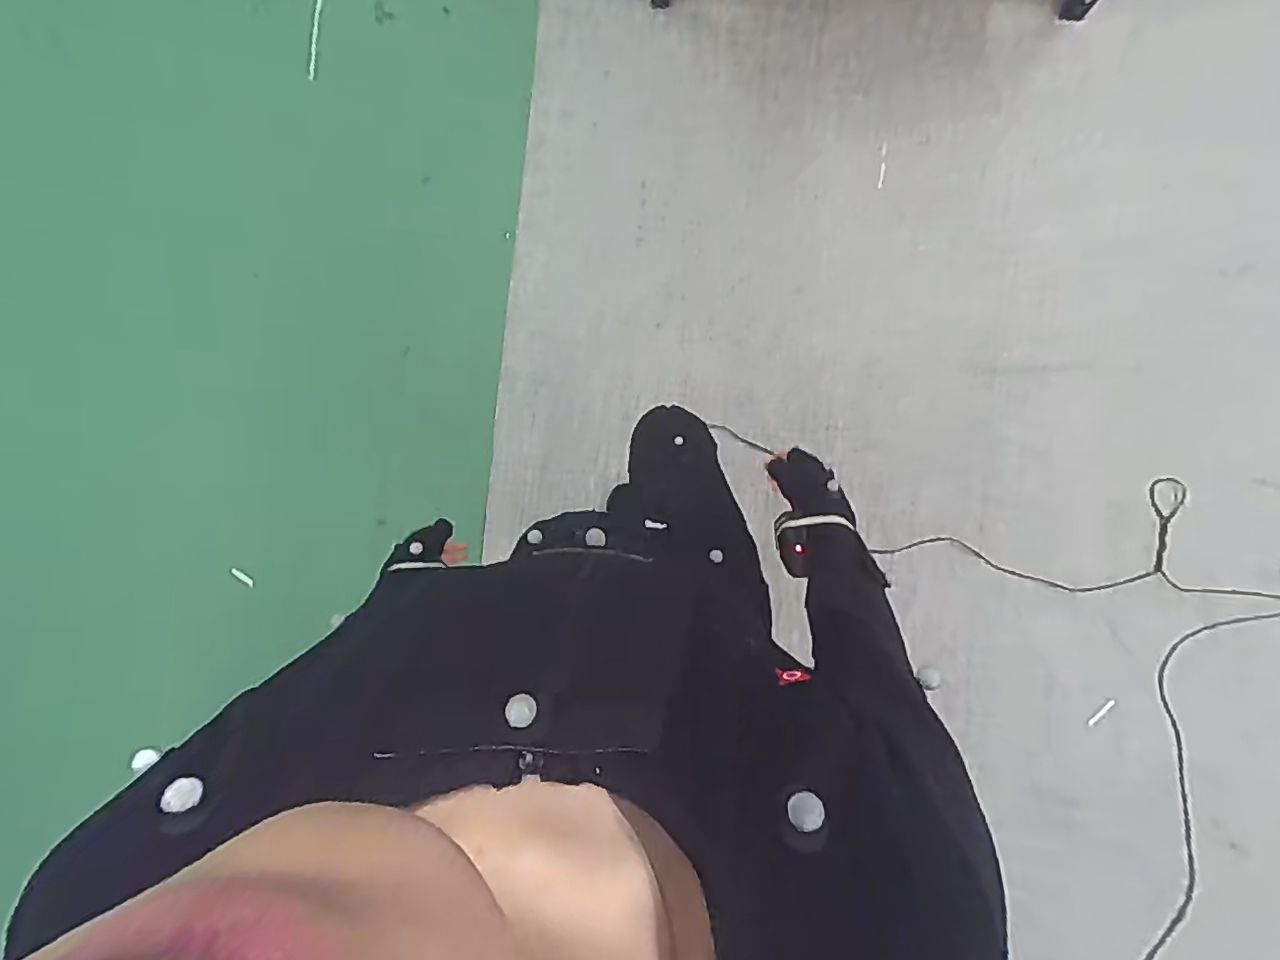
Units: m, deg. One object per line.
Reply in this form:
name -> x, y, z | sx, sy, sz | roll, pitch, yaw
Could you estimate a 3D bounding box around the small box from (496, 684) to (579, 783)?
small box -> -0.258, 0.644, 1.394 | 0.168, 0.176, 0.179 | 6, 88, 4
